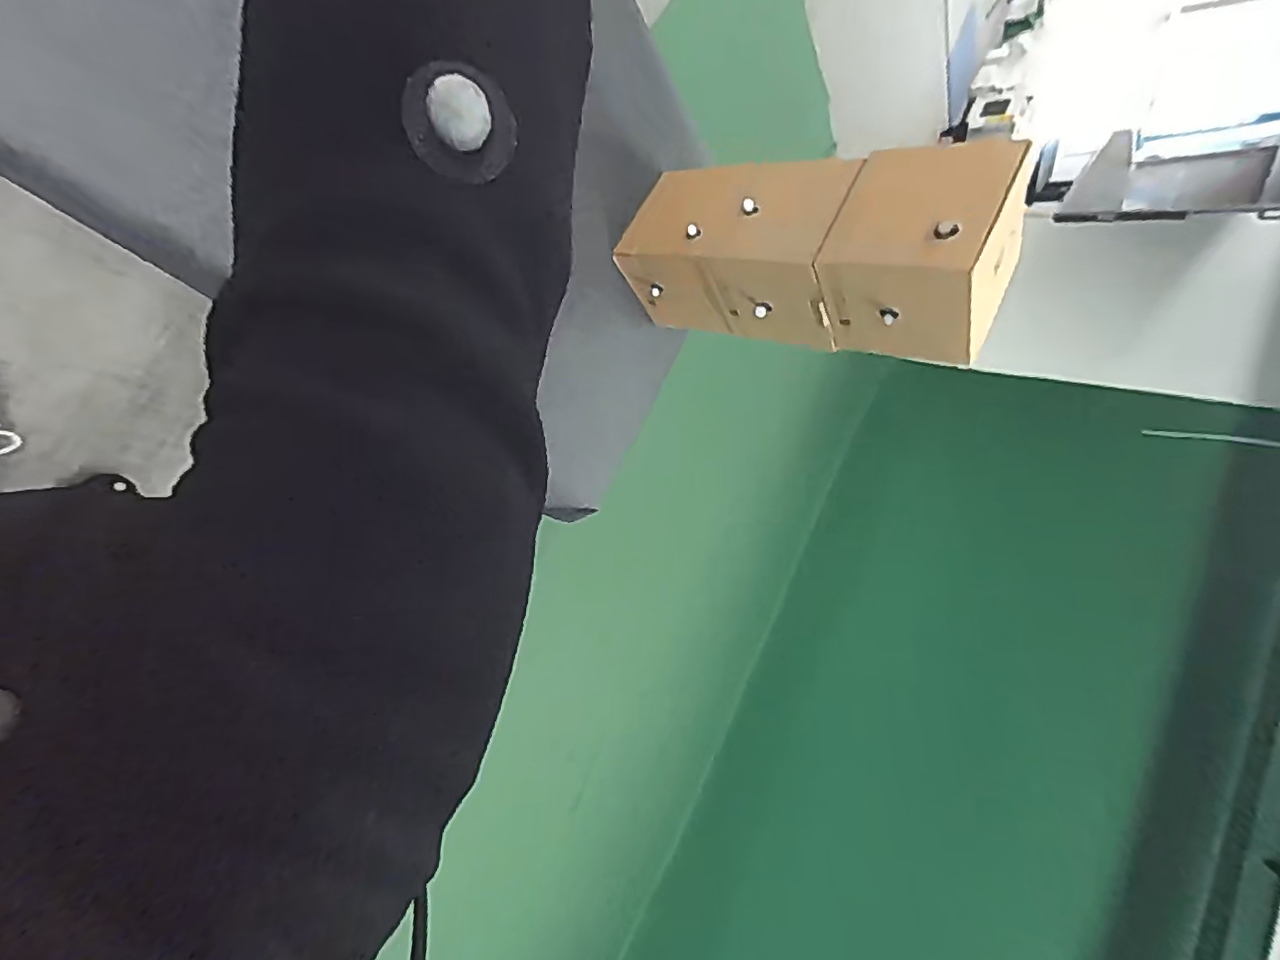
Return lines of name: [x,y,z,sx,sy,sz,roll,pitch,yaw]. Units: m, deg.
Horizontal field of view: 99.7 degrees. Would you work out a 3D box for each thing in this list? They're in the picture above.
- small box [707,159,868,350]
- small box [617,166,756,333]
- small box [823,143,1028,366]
small box: [0.213,-0.312,0.757,0.179,0.176,0.168,-59,143,-11]
small box: [0.093,-0.363,0.856,0.179,0.176,0.168,-60,143,-11]
small box: [0.335,-0.267,0.655,0.179,0.176,0.168,-61,144,-10]
